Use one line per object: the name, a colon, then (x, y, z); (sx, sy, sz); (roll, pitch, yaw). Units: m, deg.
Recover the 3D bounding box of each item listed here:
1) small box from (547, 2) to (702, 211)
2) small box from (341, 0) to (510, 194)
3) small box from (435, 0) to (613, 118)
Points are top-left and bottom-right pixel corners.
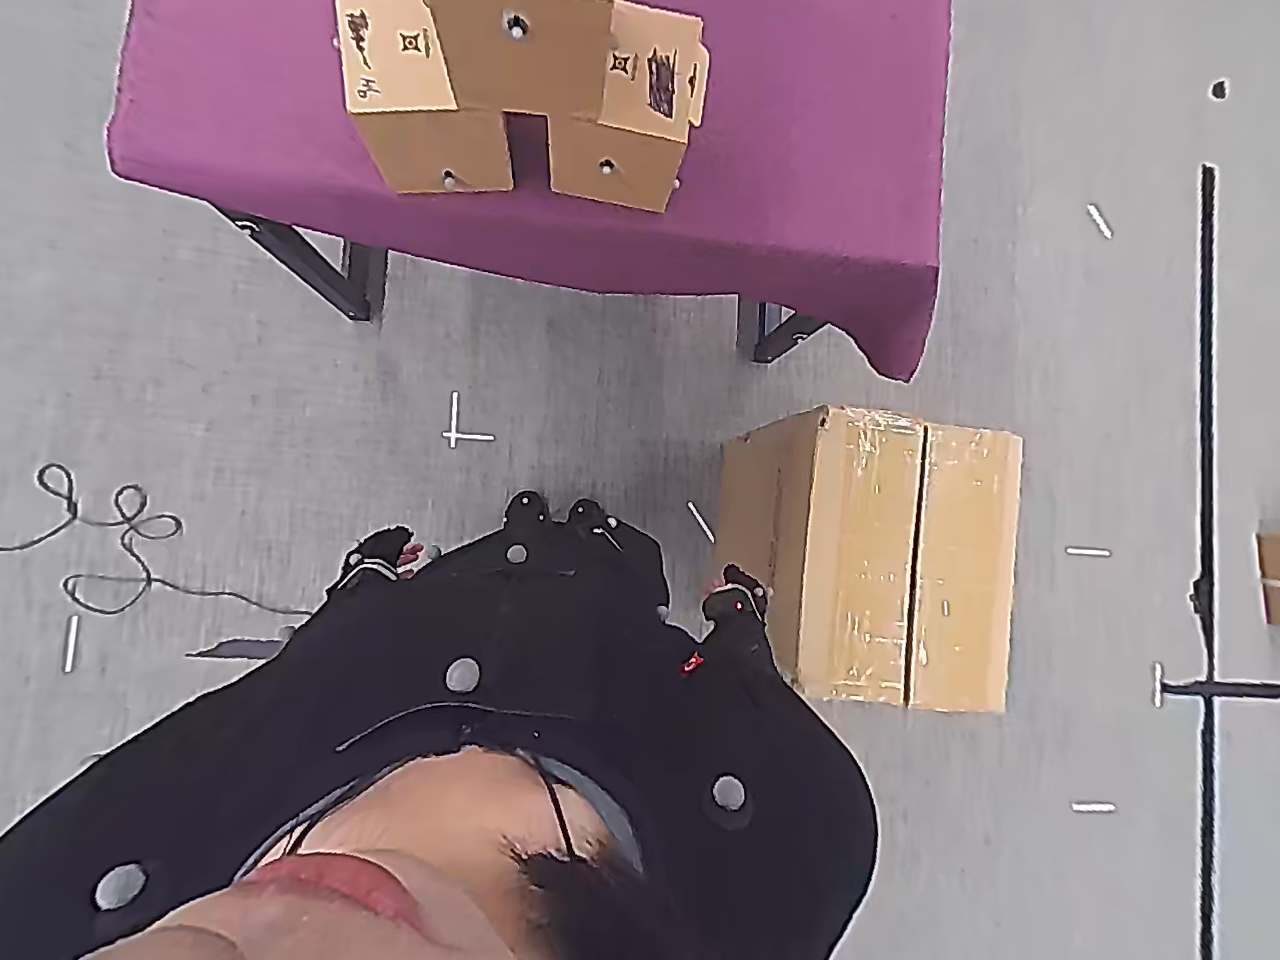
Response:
small box: (-0.027, -0.503, 0.749); (0.179, 0.176, 0.168); (8, 86, -6)
small box: (-0.269, -0.503, 0.716); (0.179, 0.176, 0.168); (-6, 87, -10)
small box: (-0.119, -0.522, 0.573); (0.179, 0.176, 0.168); (0, 88, -9)
